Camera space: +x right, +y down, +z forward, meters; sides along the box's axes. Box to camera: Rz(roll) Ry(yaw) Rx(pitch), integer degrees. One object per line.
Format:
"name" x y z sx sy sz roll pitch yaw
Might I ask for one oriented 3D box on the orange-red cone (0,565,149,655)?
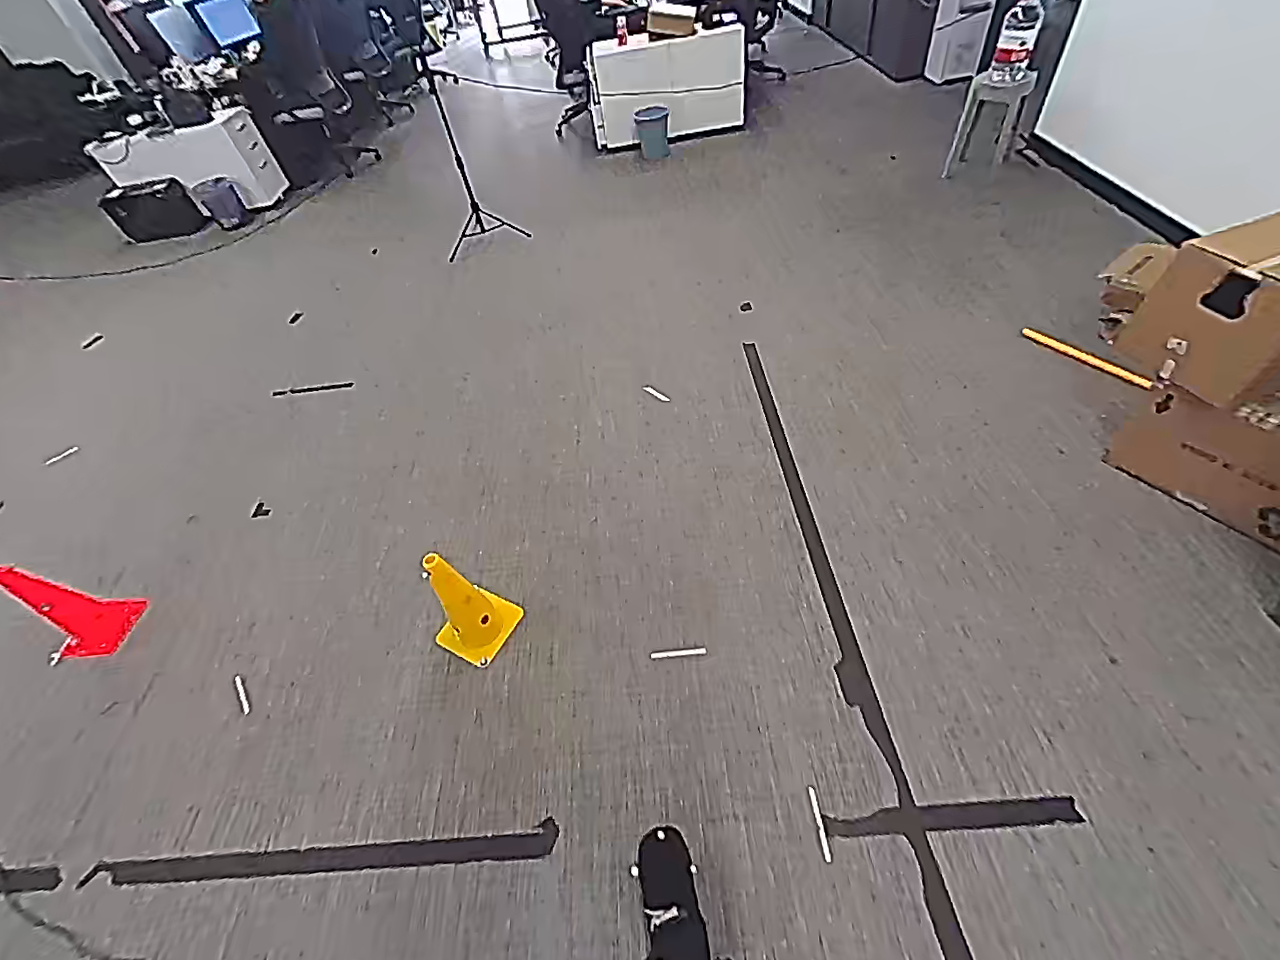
"orange-red cone" -1.772 0.367 1.652 0.199 0.360 0.198 -1 50 8
